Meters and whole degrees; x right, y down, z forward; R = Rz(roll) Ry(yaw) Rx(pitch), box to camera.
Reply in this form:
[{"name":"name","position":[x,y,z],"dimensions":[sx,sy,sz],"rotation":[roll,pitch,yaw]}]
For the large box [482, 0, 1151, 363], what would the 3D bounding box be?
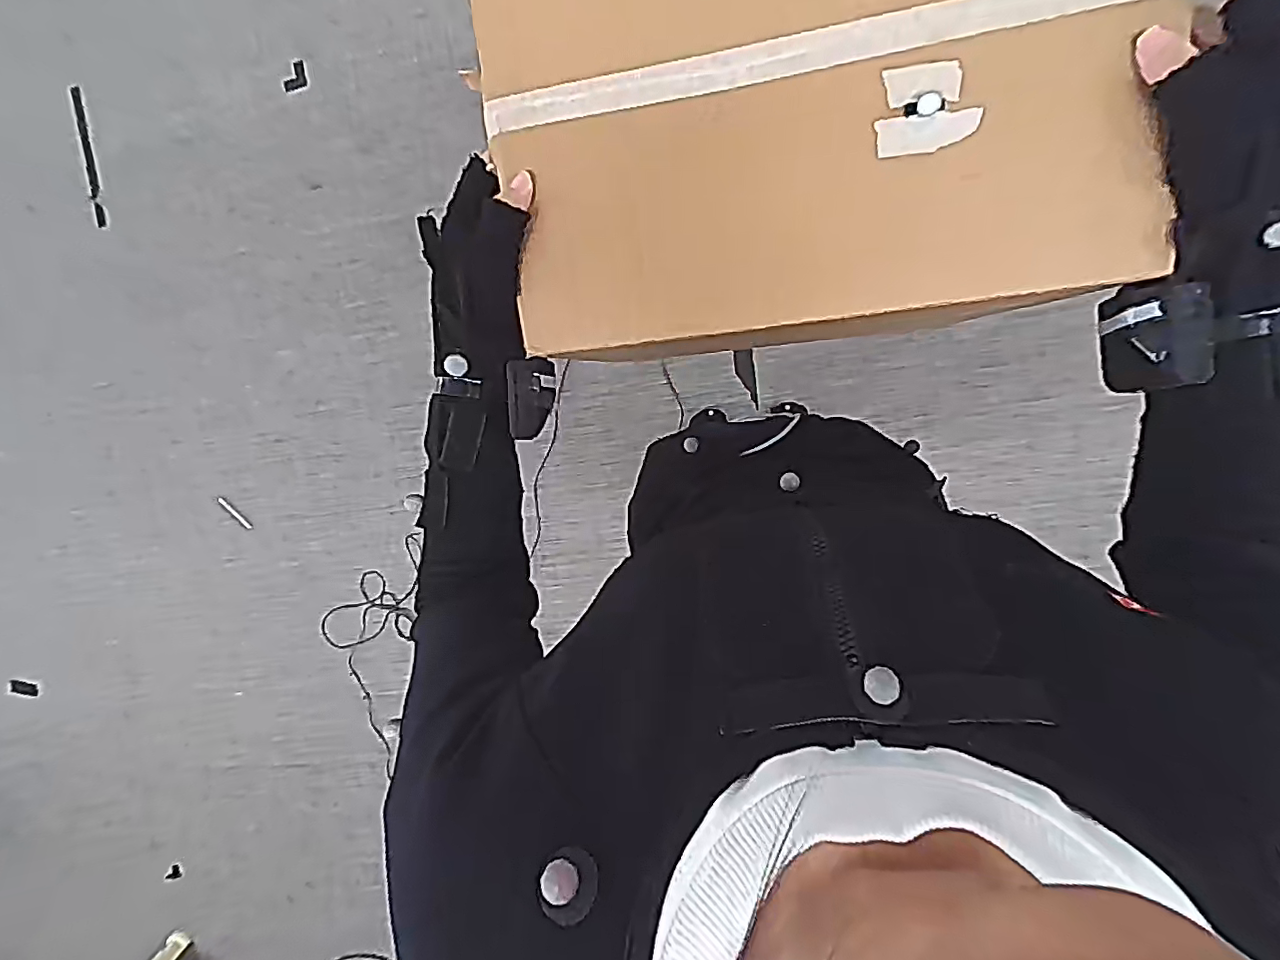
[{"name":"large box","position":[0.118,-0.291,0.488],"dimensions":[0.408,0.320,0.320],"rotation":[-5,101,9]}]
